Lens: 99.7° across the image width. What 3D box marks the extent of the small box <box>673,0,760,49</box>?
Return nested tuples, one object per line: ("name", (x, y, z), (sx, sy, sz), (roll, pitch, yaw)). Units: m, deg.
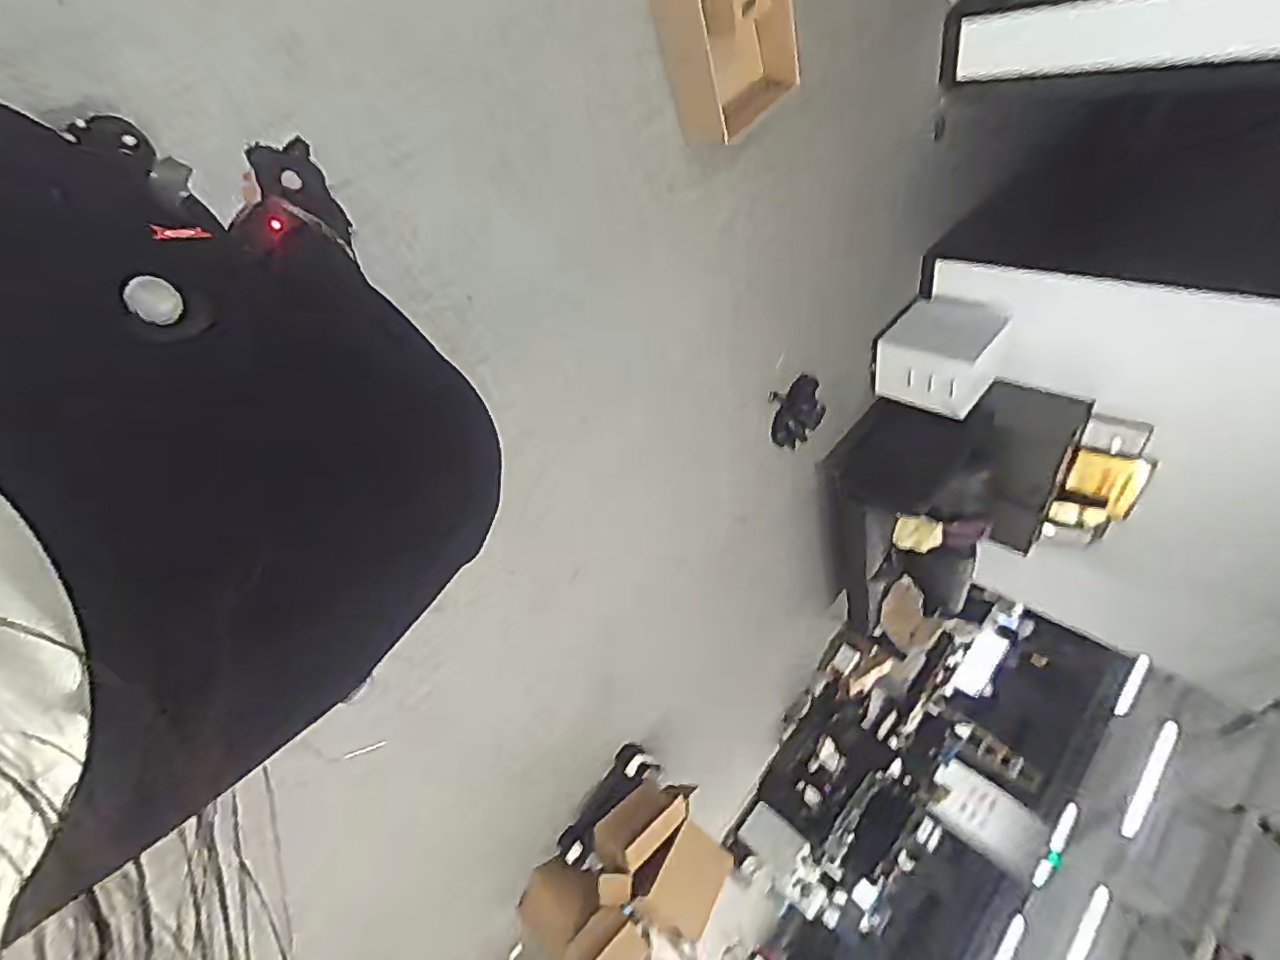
("small box", (0.212, -1.364, 1.536), (0.168, 0.176, 0.179), (-49, 139, -17))
